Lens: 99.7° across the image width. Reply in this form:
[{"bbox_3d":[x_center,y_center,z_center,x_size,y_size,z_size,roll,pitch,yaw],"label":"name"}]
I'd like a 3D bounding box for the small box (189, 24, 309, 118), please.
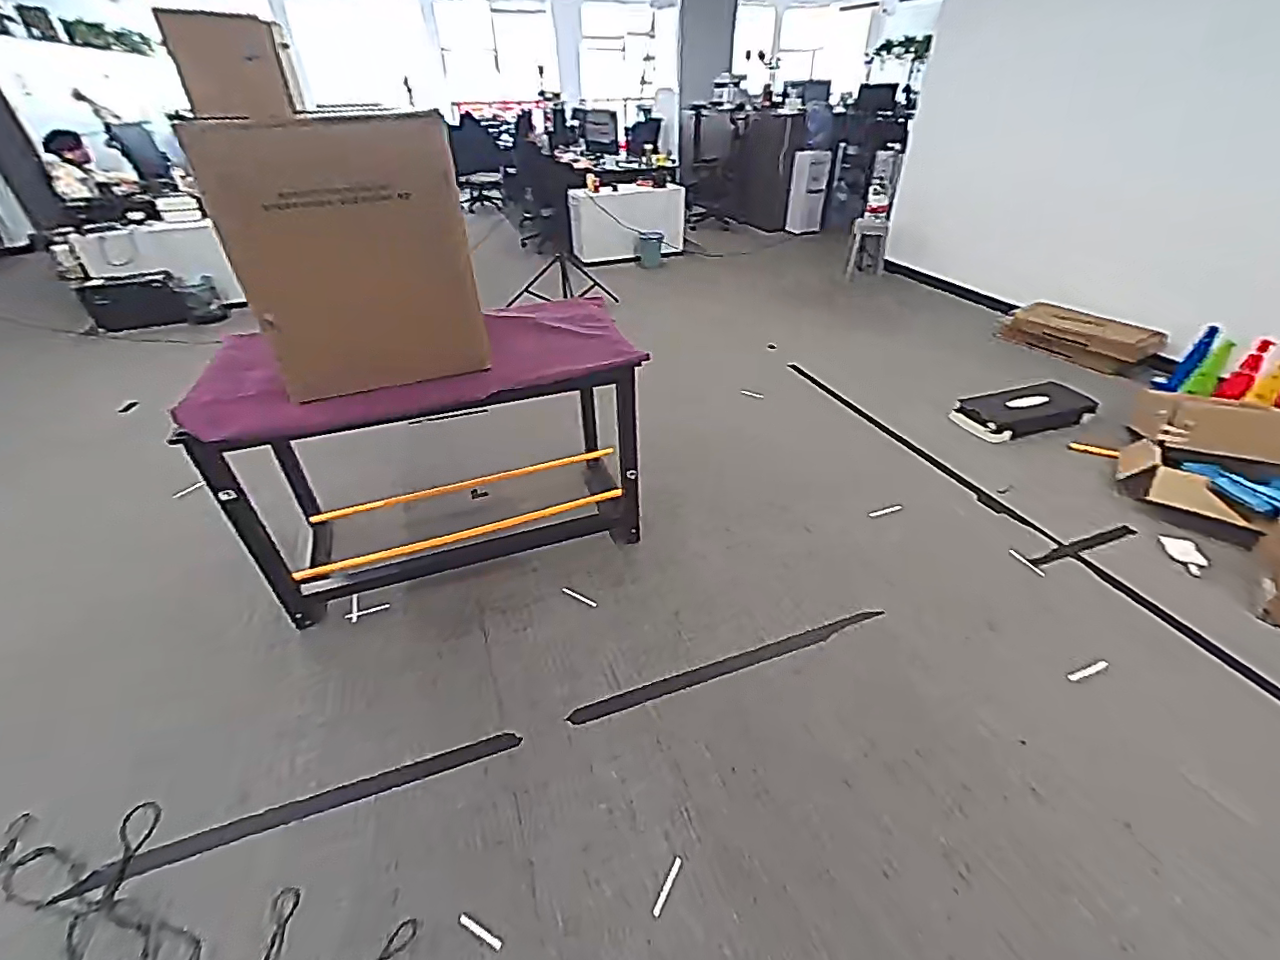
[{"bbox_3d":[-0.907,-0.959,1.275,0.168,0.176,0.179,-11,37,-16],"label":"small box"}]
